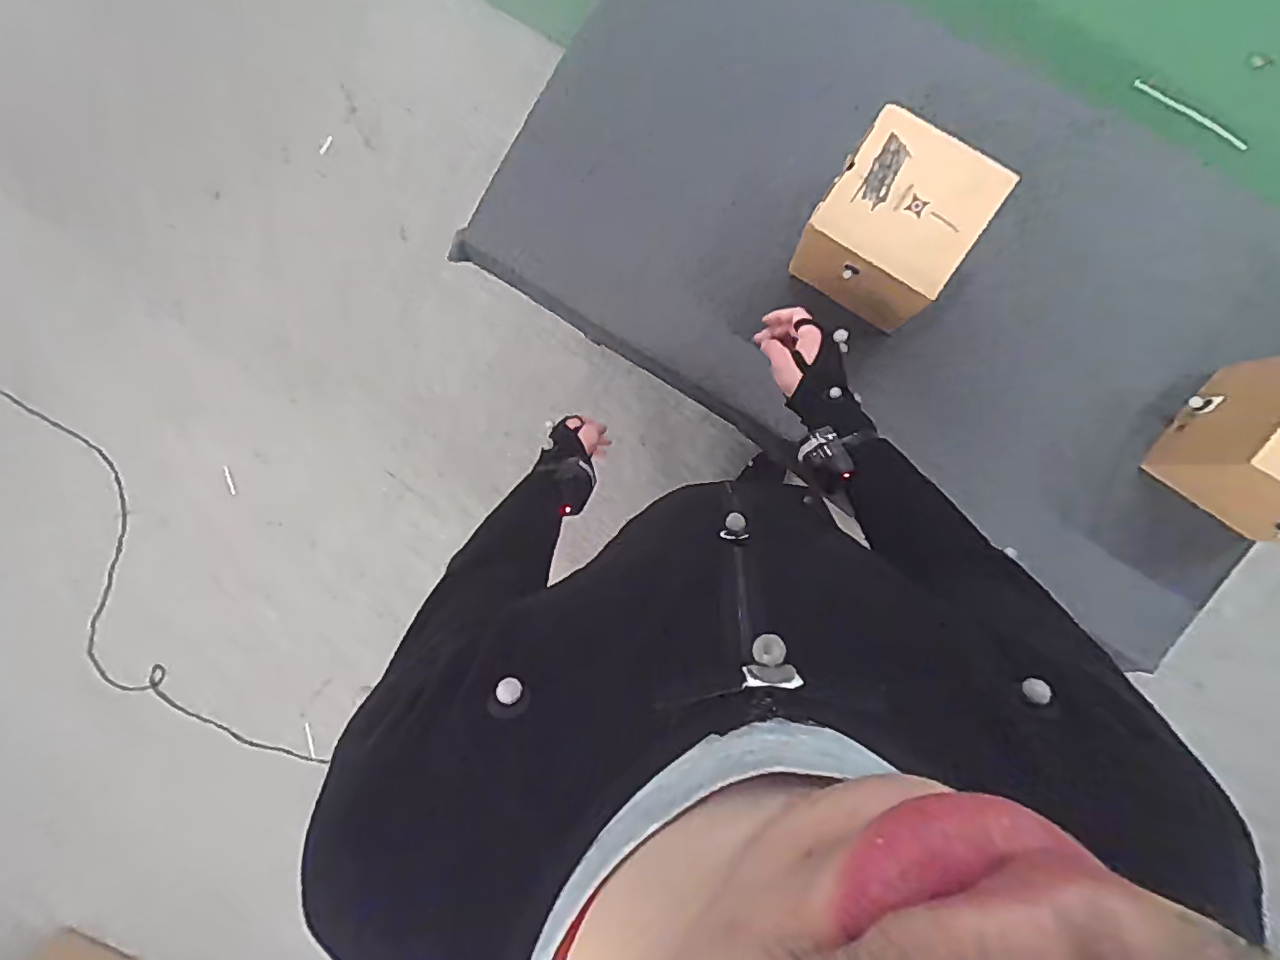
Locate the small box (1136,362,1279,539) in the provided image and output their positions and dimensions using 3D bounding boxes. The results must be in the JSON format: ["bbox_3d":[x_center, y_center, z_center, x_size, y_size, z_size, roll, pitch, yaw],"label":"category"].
[{"bbox_3d":[0.783,-0.034,0.652,0.179,0.176,0.168,36,96,6],"label":"small box"}]

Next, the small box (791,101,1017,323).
[{"bbox_3d":[0.320,-0.328,0.703,0.179,0.176,0.168,35,97,4],"label":"small box"}]
